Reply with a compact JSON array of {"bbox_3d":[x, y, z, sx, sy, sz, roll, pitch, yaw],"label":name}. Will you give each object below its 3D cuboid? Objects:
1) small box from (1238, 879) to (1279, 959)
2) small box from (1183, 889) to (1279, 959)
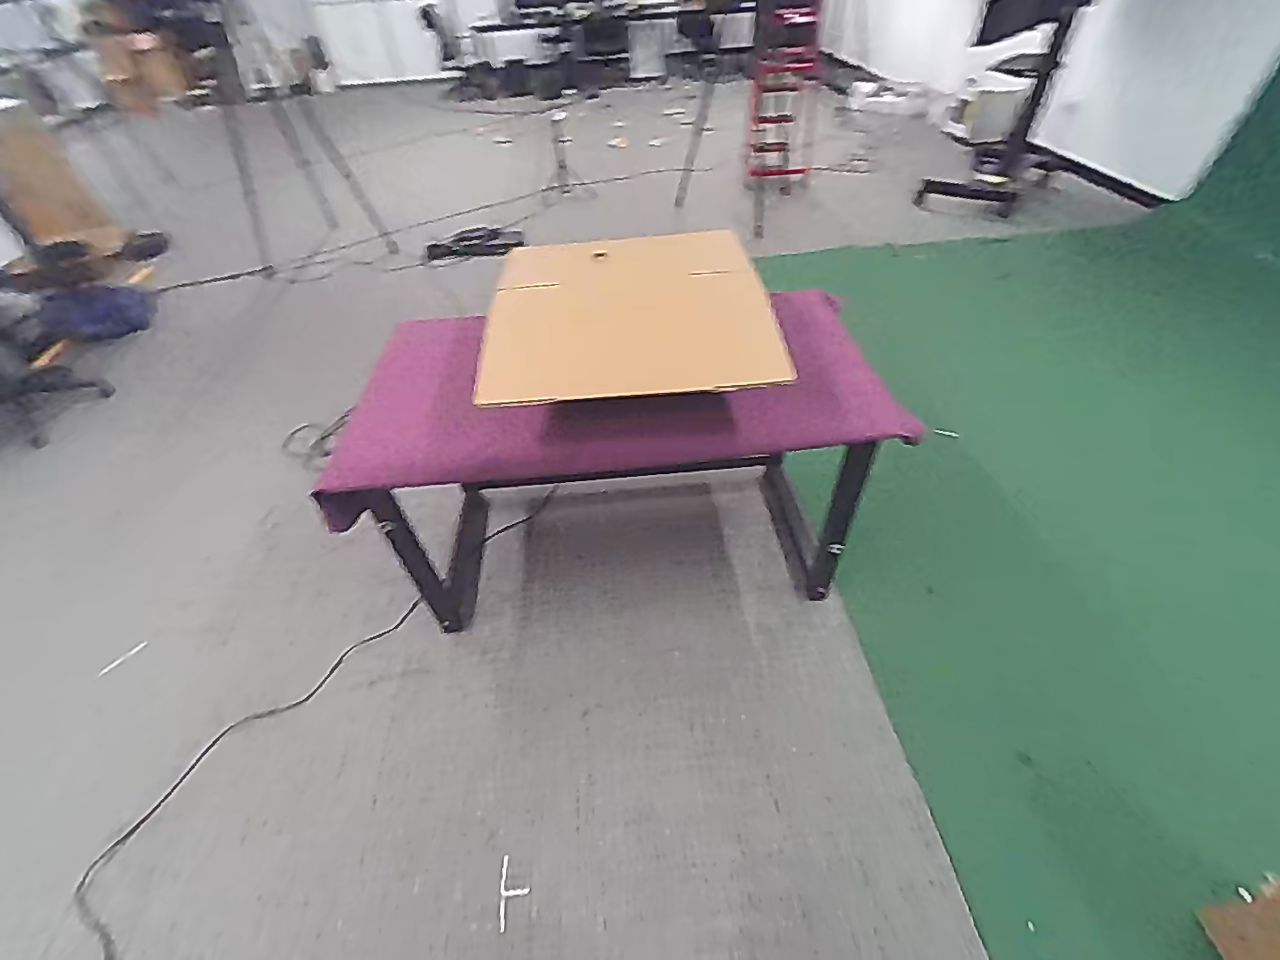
[{"bbox_3d":[1.205,0.775,0.906,0.168,0.176,0.179,-5,46,0],"label":"small box"},{"bbox_3d":[1.219,0.887,1.024,0.168,0.176,0.179,-5,46,-1],"label":"small box"}]
